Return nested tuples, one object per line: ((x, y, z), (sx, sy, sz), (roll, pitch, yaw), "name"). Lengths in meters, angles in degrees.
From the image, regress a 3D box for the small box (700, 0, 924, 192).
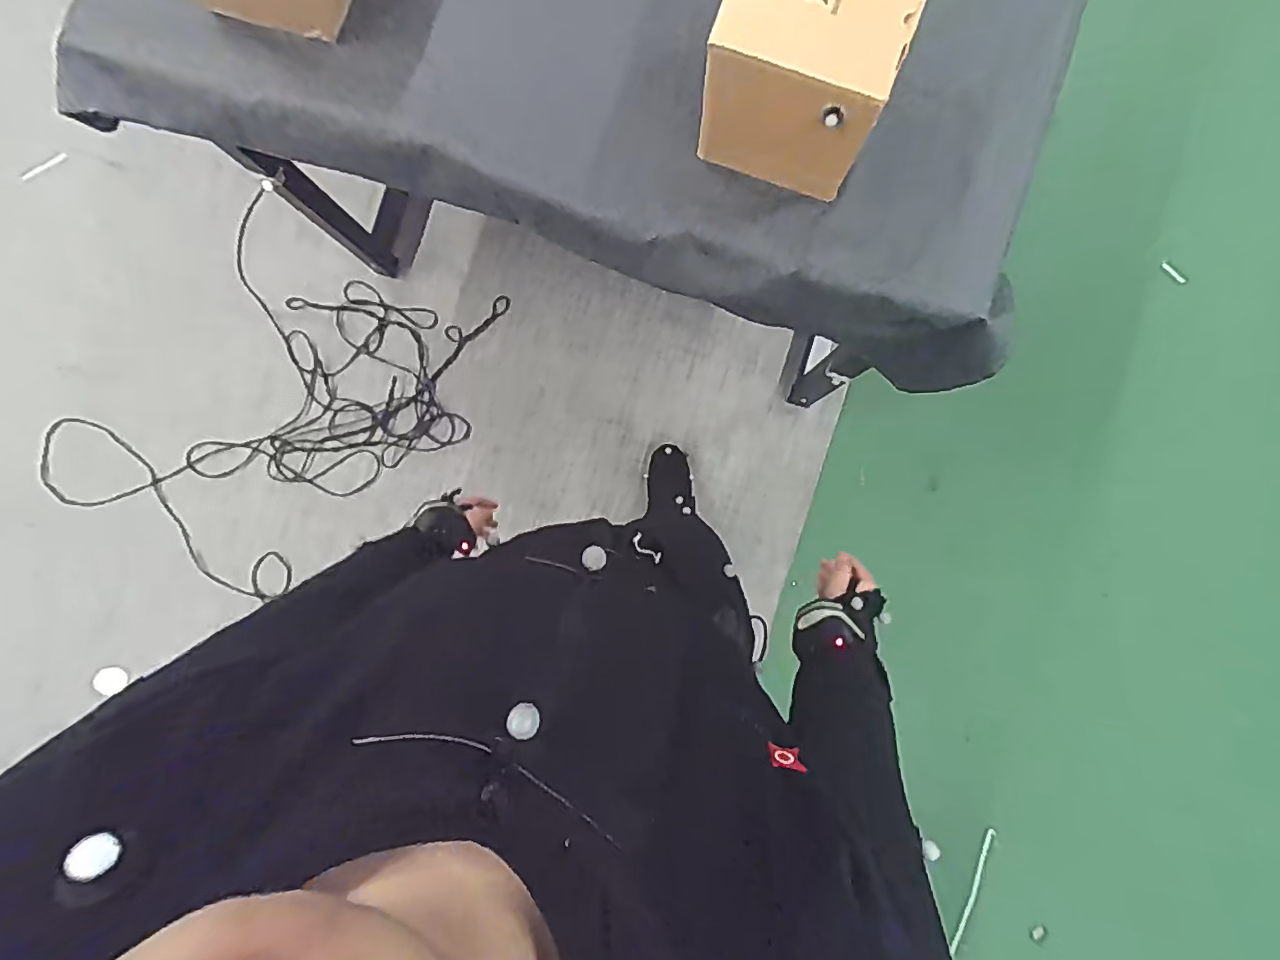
((0.173, -0.444, 0.574), (0.179, 0.176, 0.168), (20, 89, 2), "small box")

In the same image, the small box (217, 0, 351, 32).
((-0.435, -0.651, 0.596), (0.179, 0.176, 0.168), (17, 90, 1), "small box")
